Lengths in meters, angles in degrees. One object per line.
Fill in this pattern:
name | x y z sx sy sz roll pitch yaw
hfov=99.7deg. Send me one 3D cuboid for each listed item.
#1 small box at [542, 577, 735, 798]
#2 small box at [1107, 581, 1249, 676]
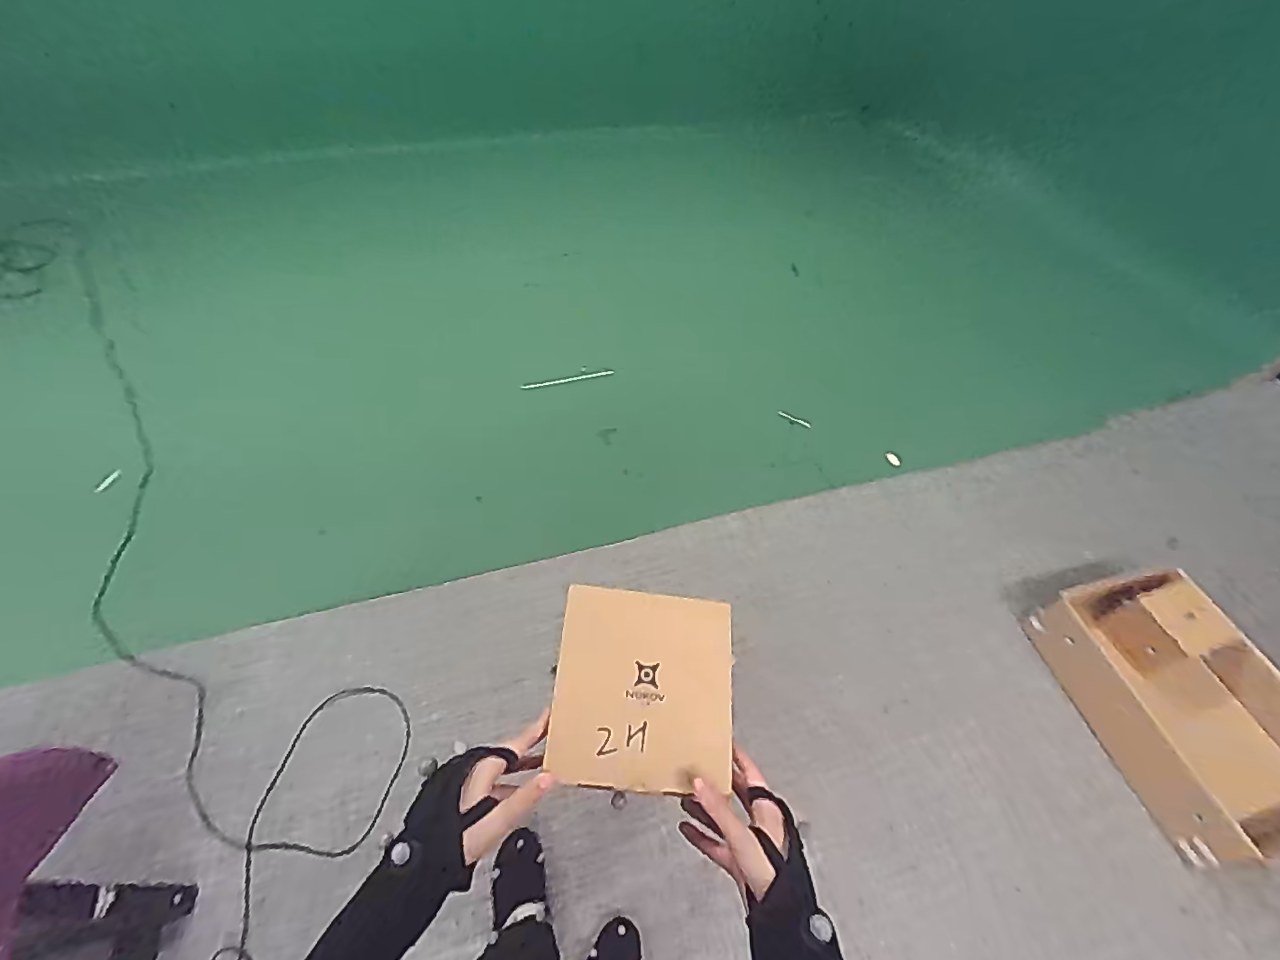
small box | -0.004 0.221 0.564 0.168 0.176 0.179 9 60 -3
small box | 1.393 0.394 1.422 0.179 0.176 0.168 -14 54 -10
